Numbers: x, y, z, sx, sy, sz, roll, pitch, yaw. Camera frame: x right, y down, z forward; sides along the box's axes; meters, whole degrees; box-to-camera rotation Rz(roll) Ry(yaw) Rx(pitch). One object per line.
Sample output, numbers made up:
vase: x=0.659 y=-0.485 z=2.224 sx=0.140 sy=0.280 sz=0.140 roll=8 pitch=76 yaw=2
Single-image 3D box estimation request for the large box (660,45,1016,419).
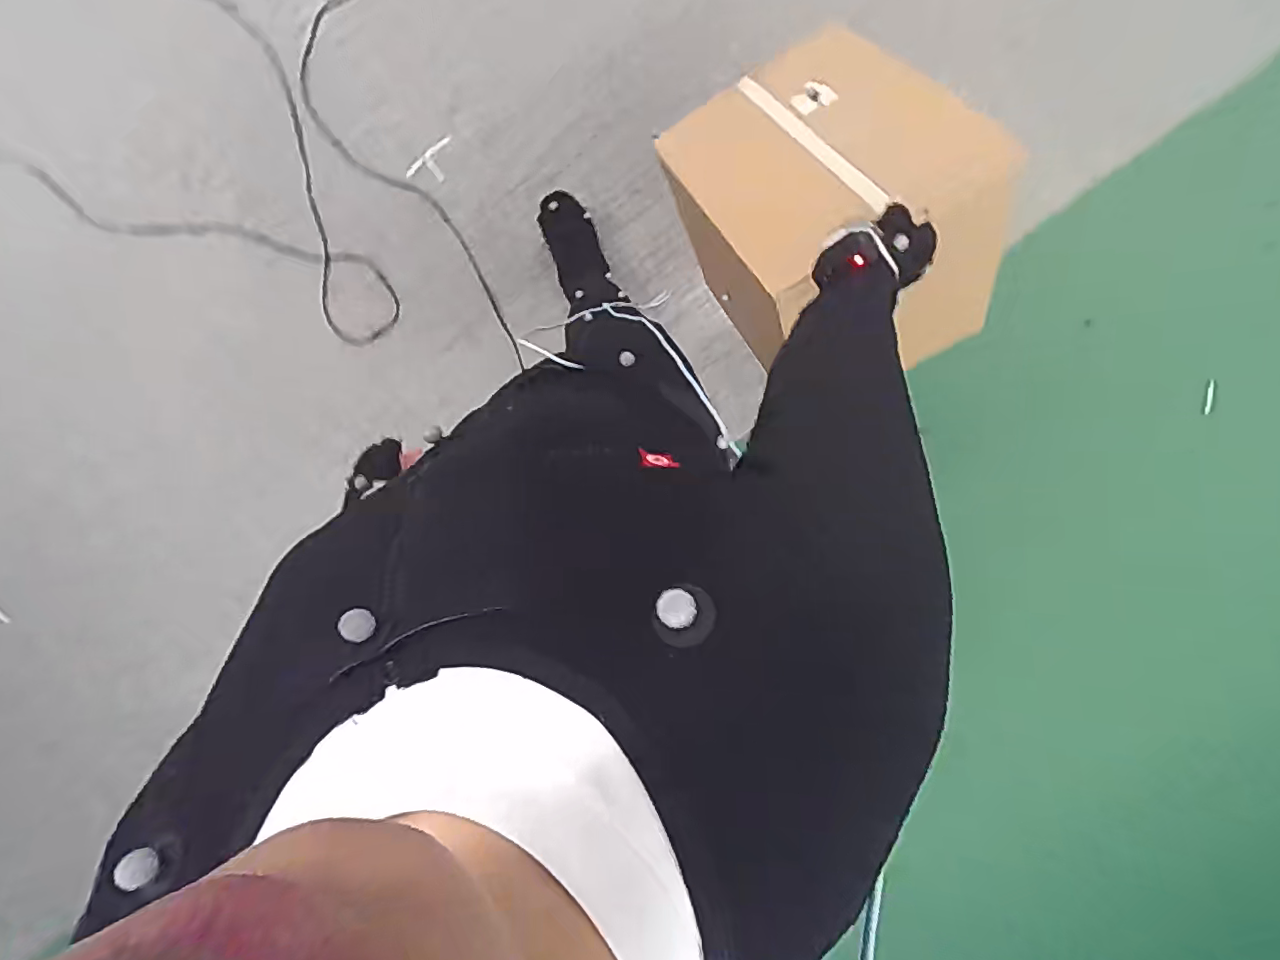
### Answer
large box: x=0.288 y=-0.379 z=0.861 sx=0.320 sy=0.408 sz=0.320 roll=-29 pitch=146 yaw=8
